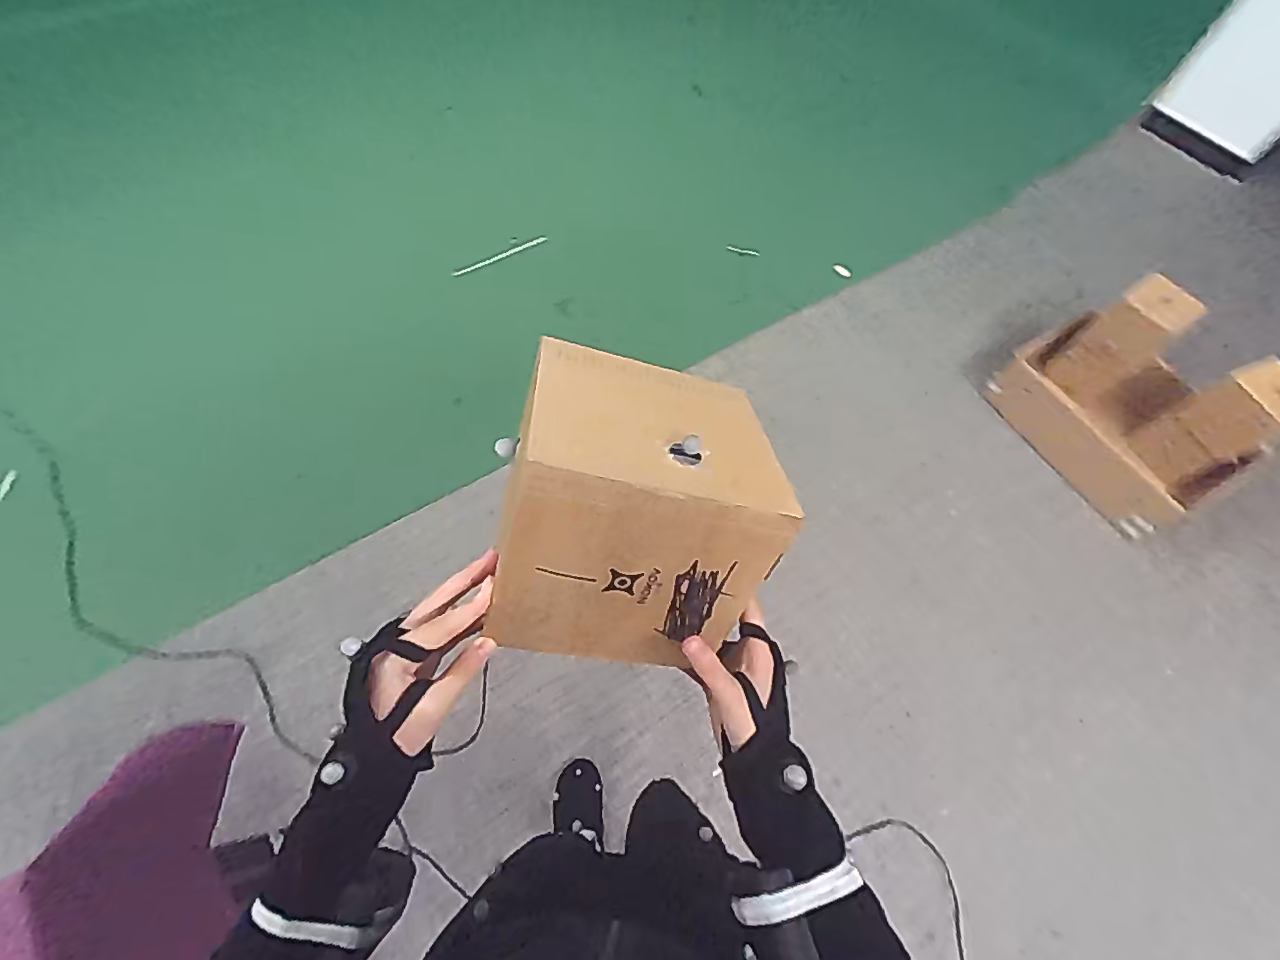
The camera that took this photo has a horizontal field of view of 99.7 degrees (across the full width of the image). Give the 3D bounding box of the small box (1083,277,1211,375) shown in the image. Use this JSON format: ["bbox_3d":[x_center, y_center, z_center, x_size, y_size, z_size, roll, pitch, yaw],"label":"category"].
[{"bbox_3d":[1.429,-0.434,1.538,0.179,0.176,0.168,-31,68,-15],"label":"small box"}]

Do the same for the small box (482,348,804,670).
[{"bbox_3d":[-0.009,0.019,0.419,0.179,0.168,0.176,14,35,-14],"label":"small box"}]

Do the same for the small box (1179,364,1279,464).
[{"bbox_3d":[1.598,-0.169,1.416,0.168,0.176,0.179,-18,66,-9],"label":"small box"}]
